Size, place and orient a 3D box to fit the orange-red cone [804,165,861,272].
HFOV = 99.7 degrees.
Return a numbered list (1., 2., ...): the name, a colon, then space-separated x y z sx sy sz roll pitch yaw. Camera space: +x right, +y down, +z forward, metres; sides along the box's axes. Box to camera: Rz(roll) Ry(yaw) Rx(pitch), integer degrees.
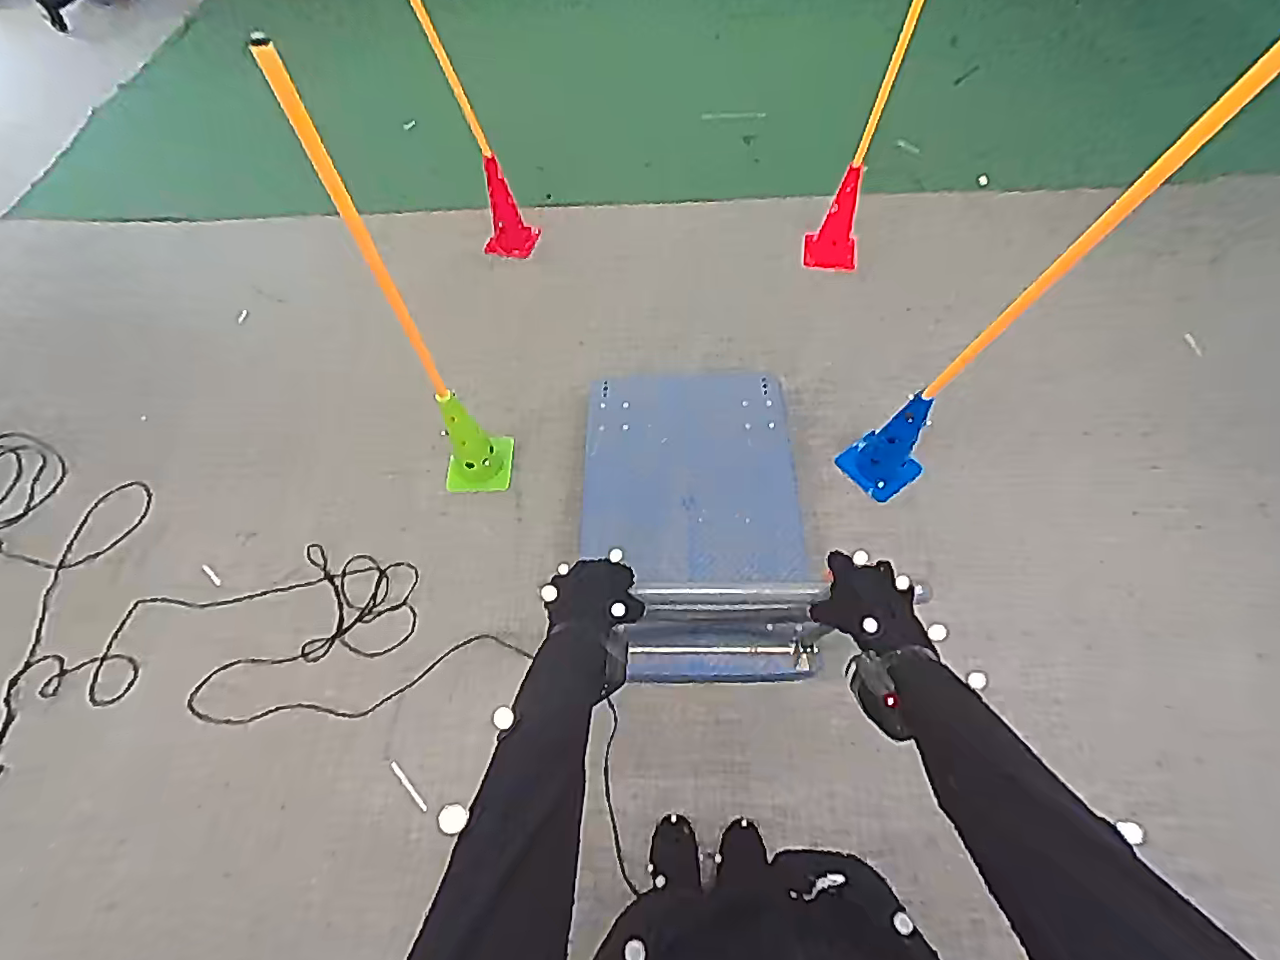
1. orange-red cone: 0.750 -0.983 2.004 0.198 0.360 0.199 9 62 8
